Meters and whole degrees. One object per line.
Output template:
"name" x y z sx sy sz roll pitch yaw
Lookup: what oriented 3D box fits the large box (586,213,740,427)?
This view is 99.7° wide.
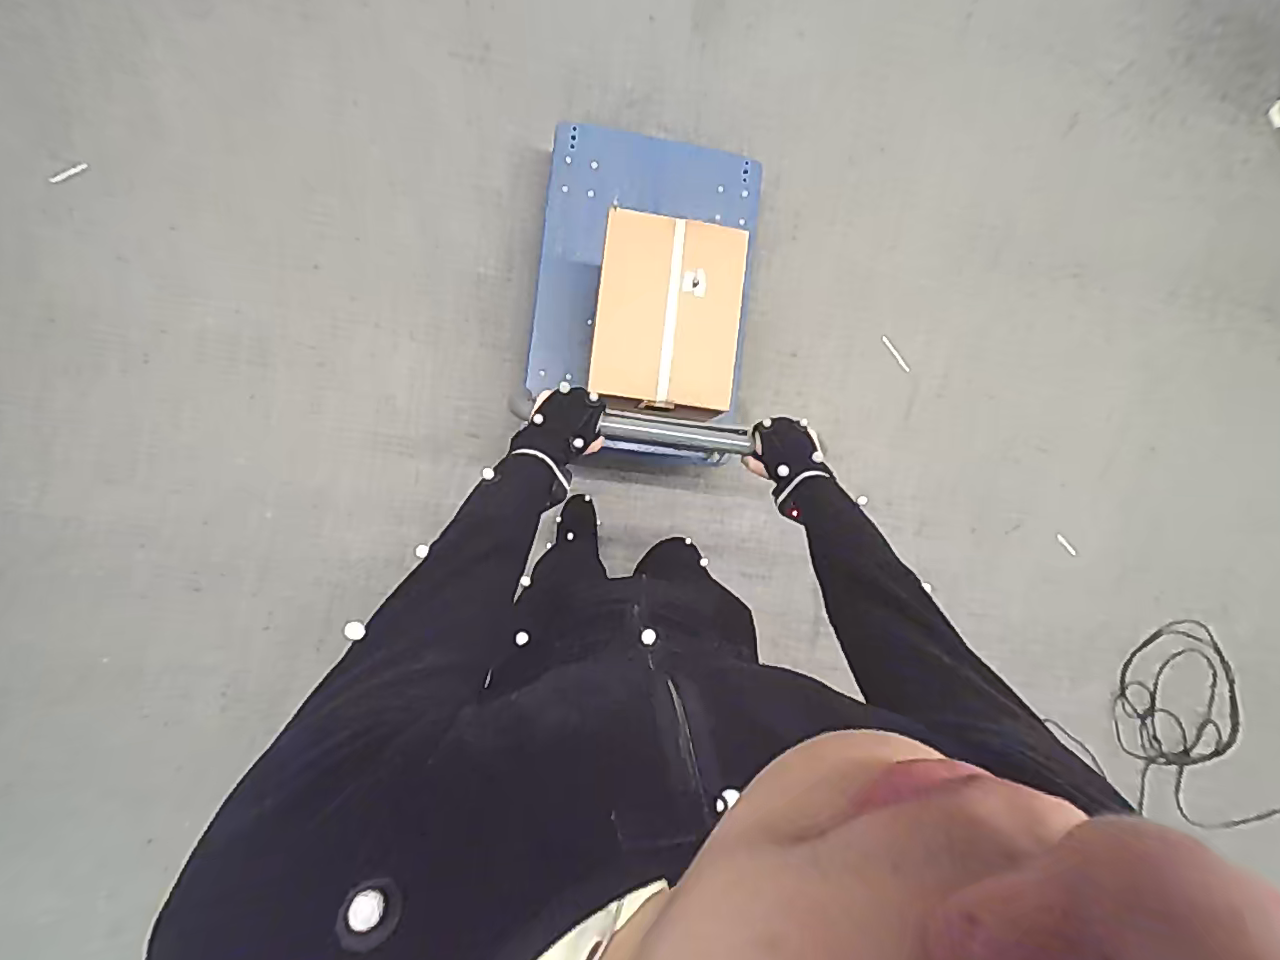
"large box" 0.038 -0.357 1.315 0.320 0.320 0.408 6 87 -8
